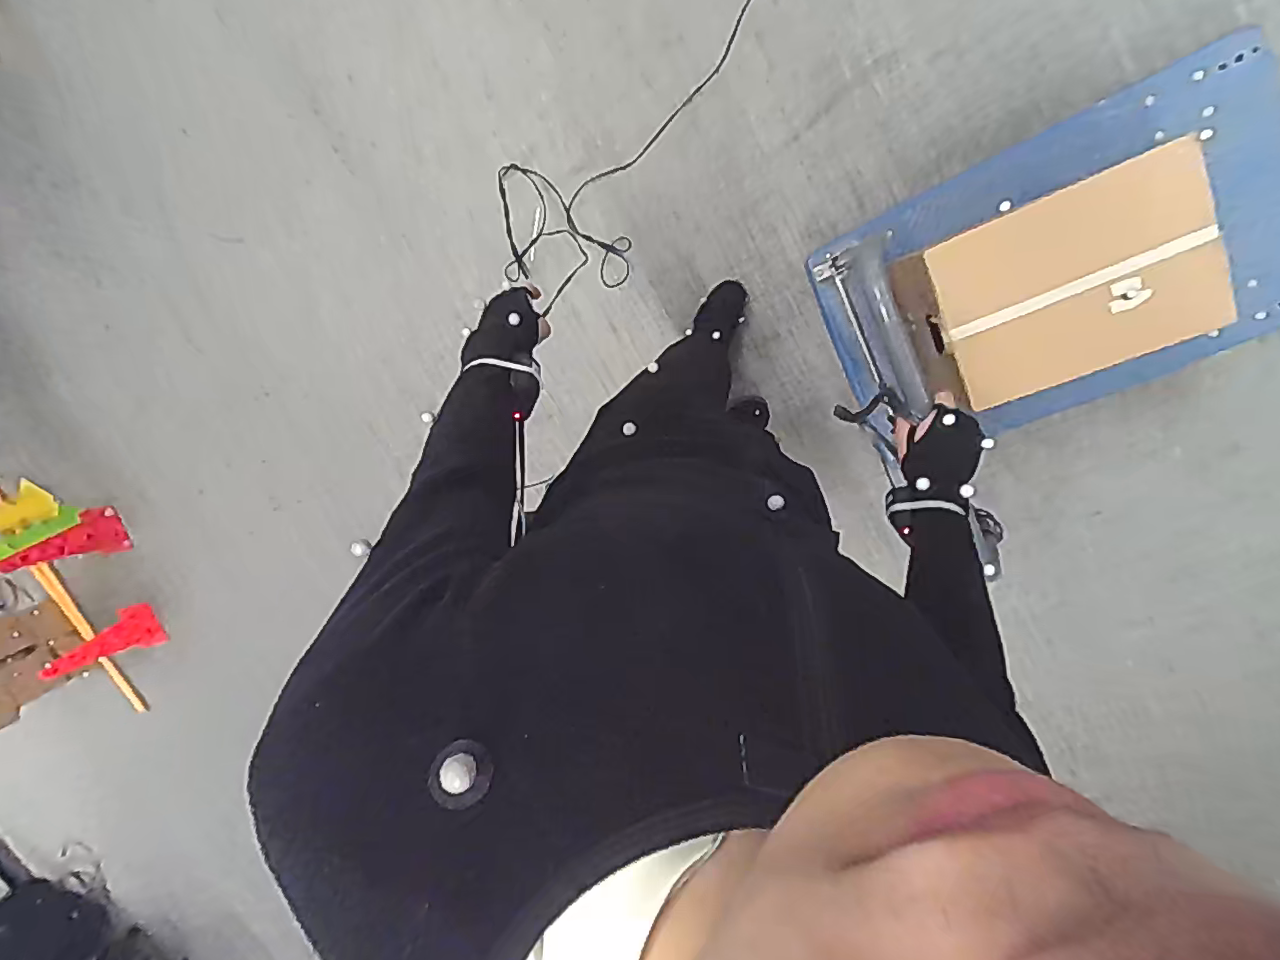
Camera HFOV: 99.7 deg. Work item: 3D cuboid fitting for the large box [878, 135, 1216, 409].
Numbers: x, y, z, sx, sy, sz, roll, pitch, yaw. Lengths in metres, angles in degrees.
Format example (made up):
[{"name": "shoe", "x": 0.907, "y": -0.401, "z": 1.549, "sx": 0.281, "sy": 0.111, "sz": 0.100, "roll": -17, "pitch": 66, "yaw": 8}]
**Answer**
[{"name": "large box", "x": 0.750, "y": -0.377, "z": 1.068, "sx": 0.408, "sy": 0.320, "sz": 0.320, "roll": -21, "pitch": 102, "yaw": 17}]
